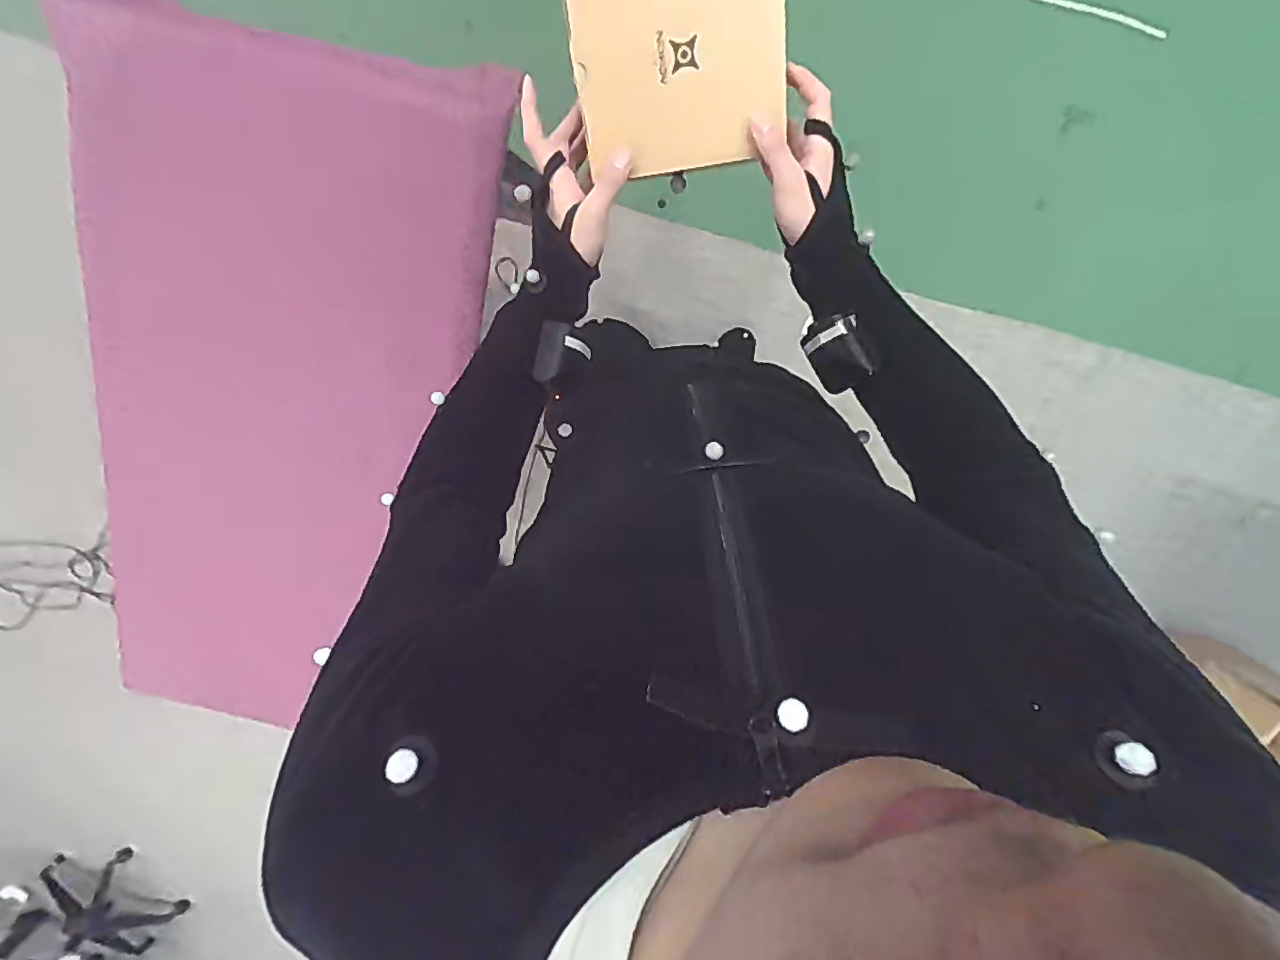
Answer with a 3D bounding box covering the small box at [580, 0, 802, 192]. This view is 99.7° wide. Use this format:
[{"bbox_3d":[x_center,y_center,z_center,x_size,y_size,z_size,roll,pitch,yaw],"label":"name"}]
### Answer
[{"bbox_3d":[0.045,-0.379,0.513,0.179,0.176,0.168,-6,119,5],"label":"small box"}]
